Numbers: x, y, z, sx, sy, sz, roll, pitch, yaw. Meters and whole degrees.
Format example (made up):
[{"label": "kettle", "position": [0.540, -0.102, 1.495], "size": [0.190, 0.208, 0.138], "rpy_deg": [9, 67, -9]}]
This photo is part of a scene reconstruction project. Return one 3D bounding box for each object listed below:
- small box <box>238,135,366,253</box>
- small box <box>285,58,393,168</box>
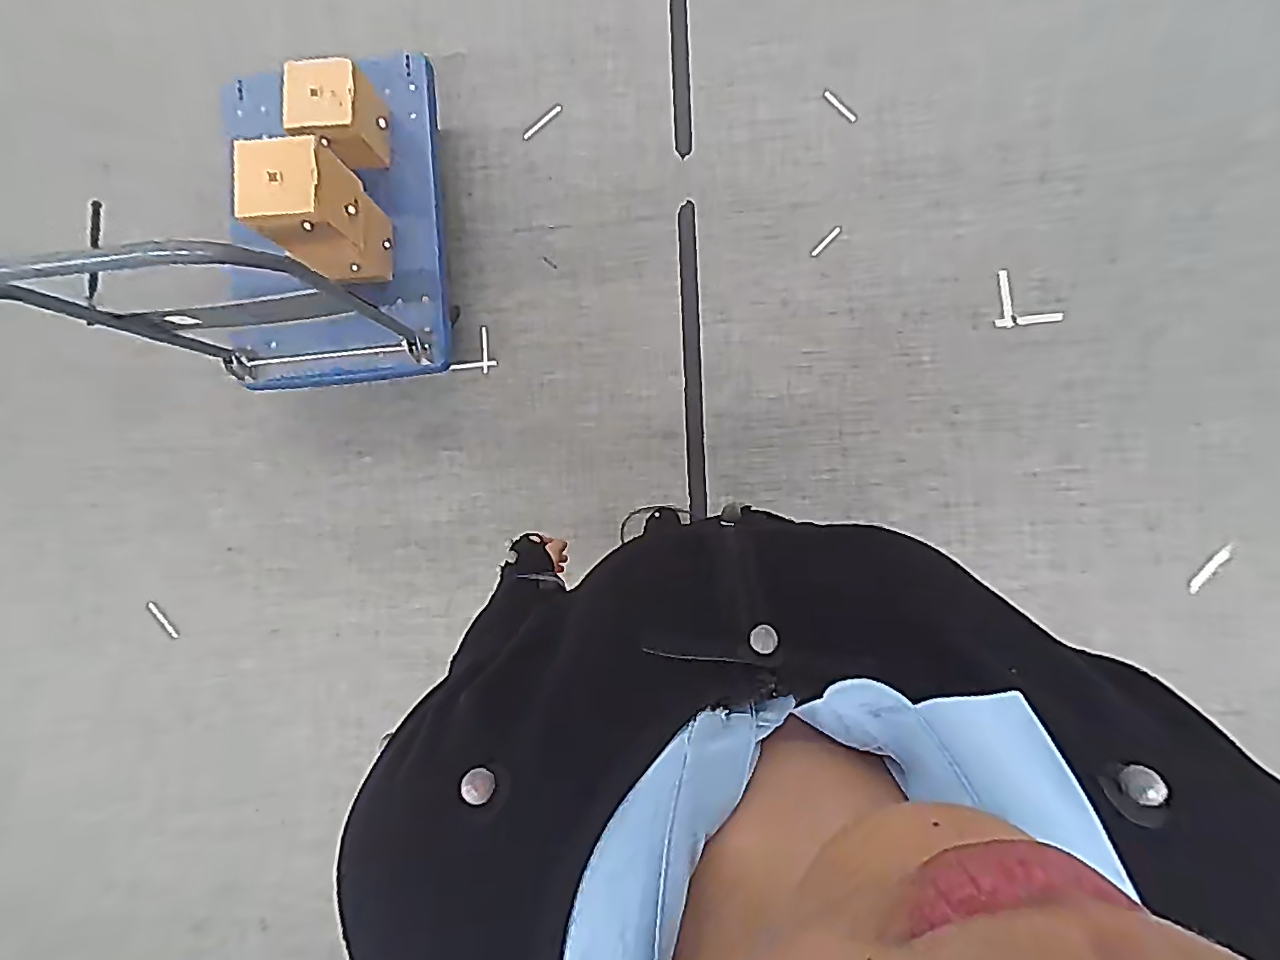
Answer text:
[{"label": "small box", "position": [-0.730, -0.613, 1.179], "size": [0.179, 0.176, 0.168], "rpy_deg": [-3, 87, 3]}, {"label": "small box", "position": [-0.750, -0.910, 1.357], "size": [0.179, 0.176, 0.168], "rpy_deg": [-1, 88, 4]}]
